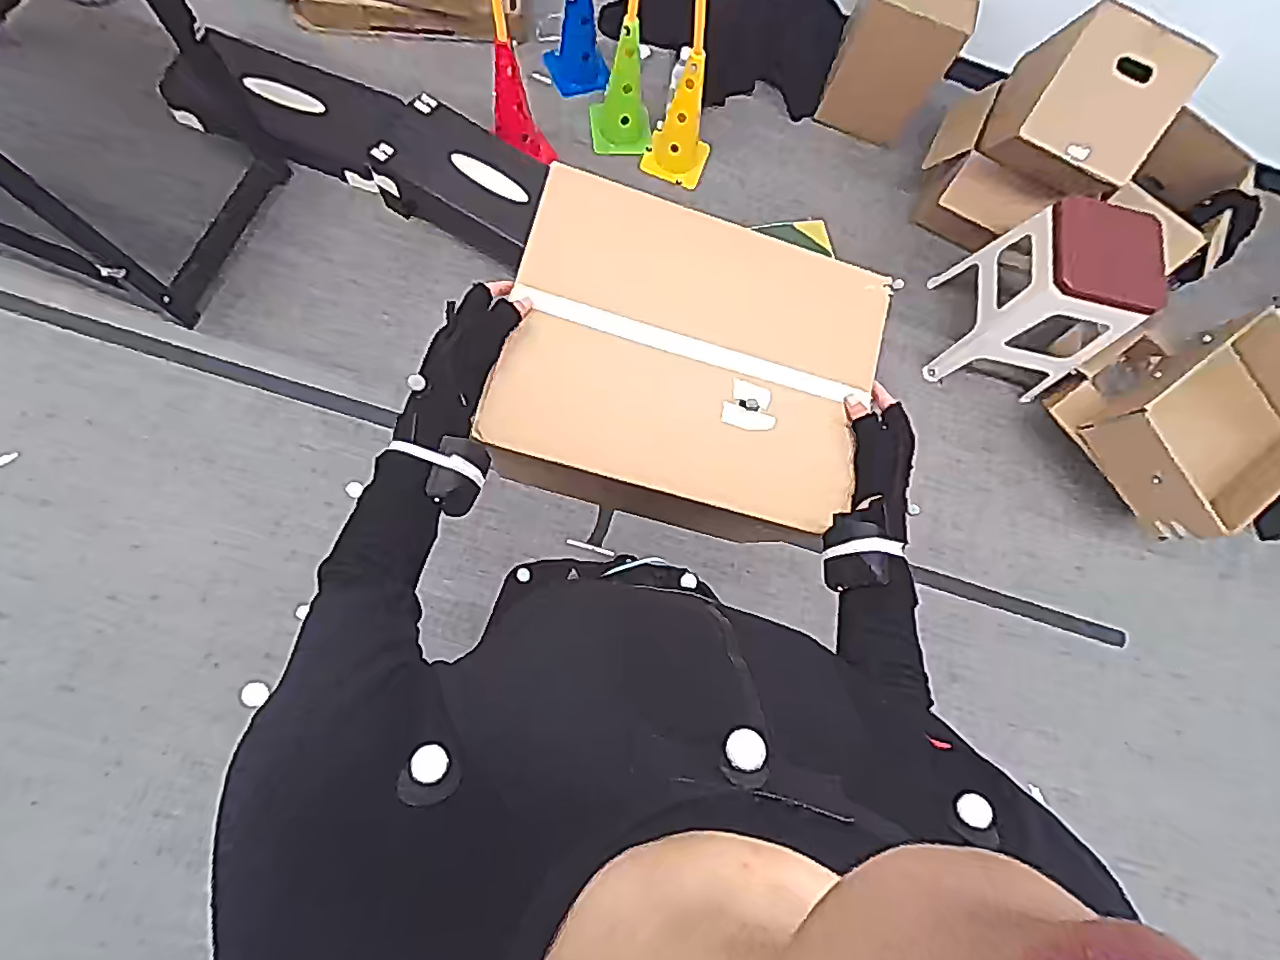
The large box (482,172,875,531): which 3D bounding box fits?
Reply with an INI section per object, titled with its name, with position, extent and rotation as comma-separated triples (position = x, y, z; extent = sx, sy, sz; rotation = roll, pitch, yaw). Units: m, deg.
[large box]
position = 0.031, -0.127, 0.739
extent = 0.408, 0.320, 0.320
rotation = 15, 82, -9
